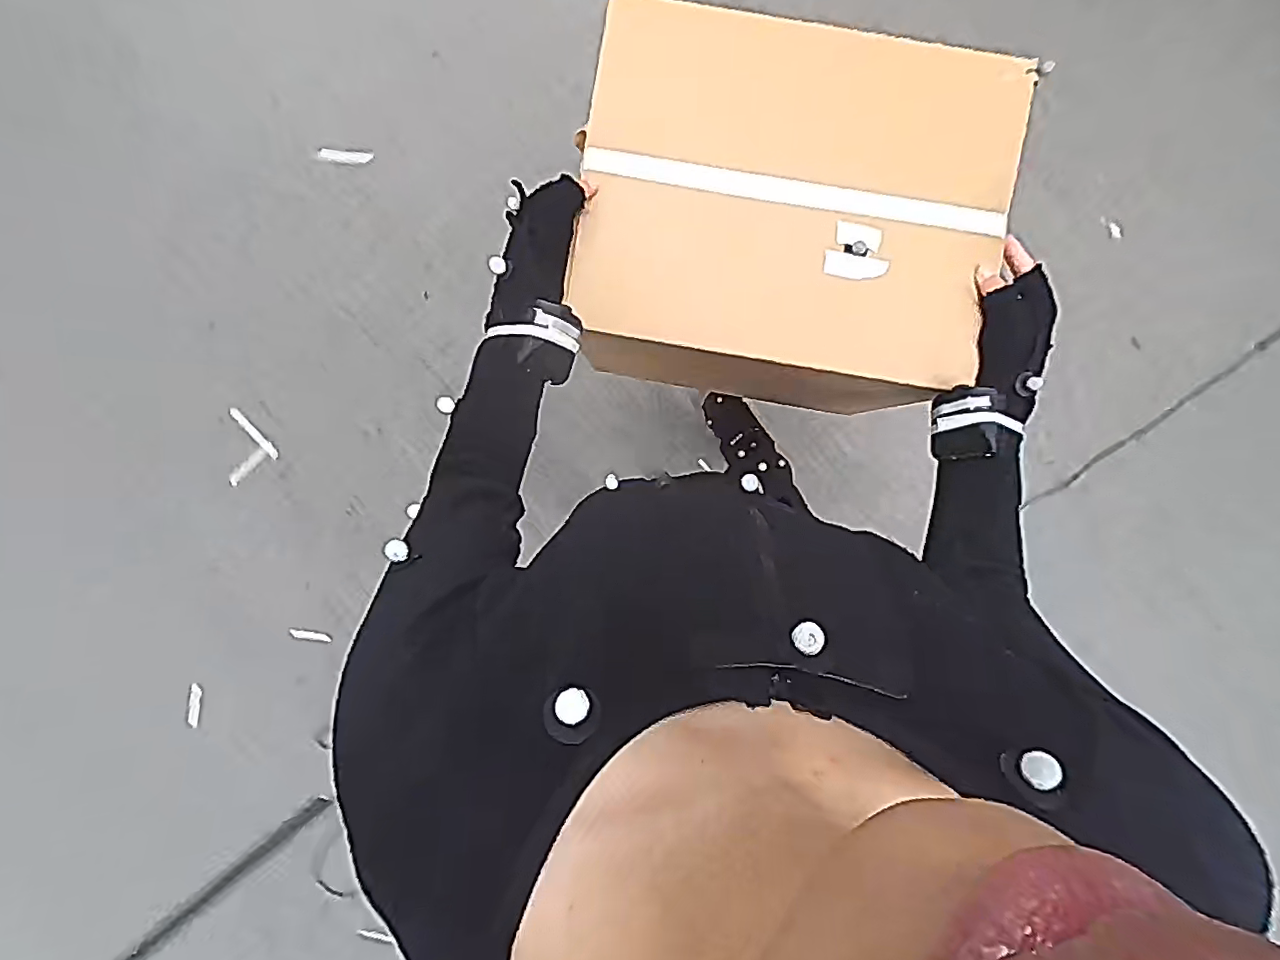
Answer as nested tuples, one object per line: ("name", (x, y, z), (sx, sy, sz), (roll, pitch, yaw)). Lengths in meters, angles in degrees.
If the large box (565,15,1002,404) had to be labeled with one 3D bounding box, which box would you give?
("large box", (0.137, -0.285, 0.680), (0.408, 0.320, 0.320), (8, 94, 0))
